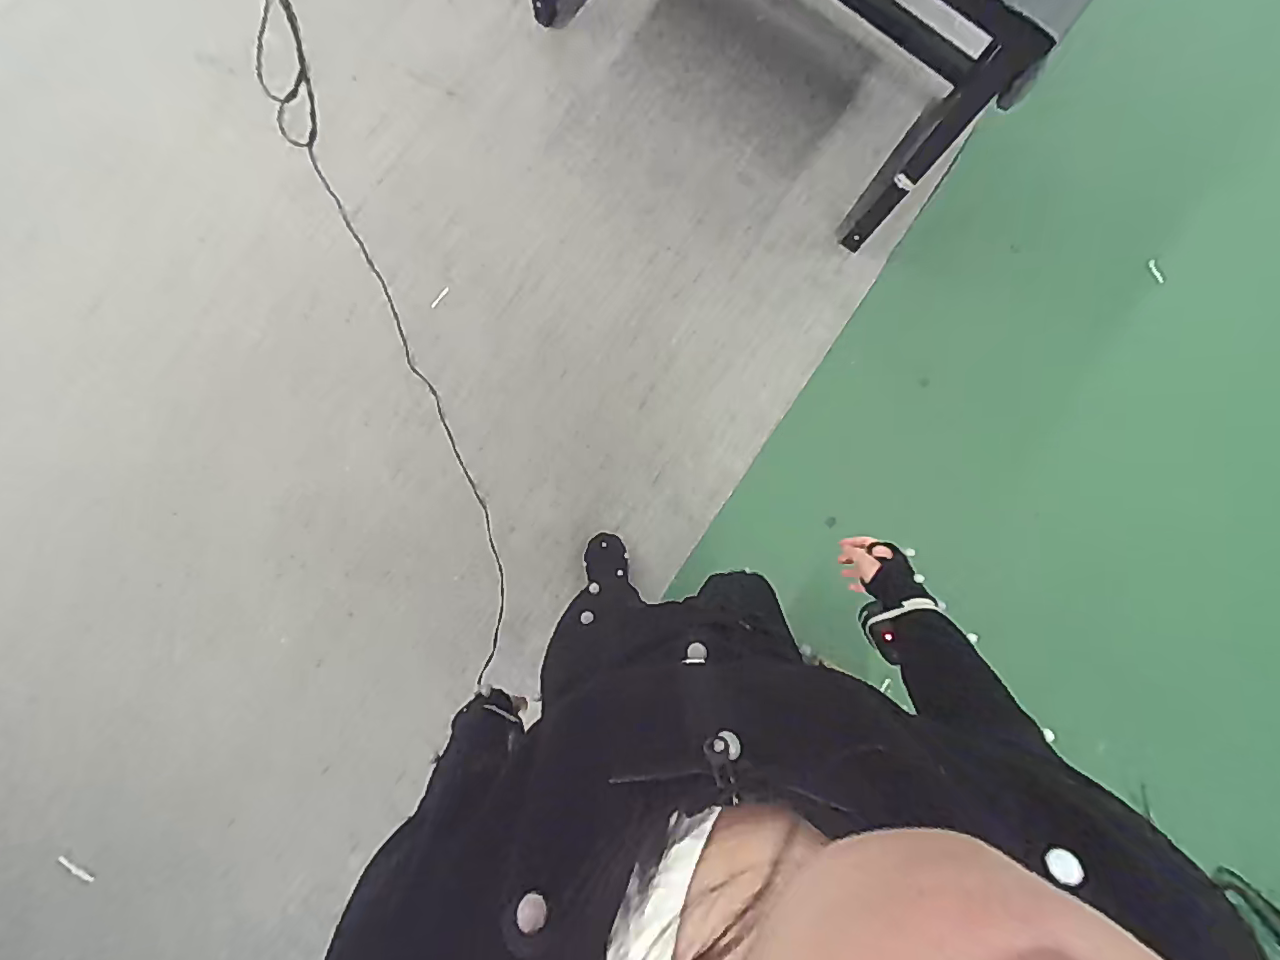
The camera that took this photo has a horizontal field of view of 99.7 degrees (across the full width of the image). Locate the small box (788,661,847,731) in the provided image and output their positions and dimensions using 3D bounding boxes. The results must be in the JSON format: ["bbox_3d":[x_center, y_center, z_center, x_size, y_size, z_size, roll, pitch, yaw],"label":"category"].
[{"bbox_3d":[0.518,0.599,1.417,0.179,0.176,0.168,35,85,-1],"label":"small box"}]
